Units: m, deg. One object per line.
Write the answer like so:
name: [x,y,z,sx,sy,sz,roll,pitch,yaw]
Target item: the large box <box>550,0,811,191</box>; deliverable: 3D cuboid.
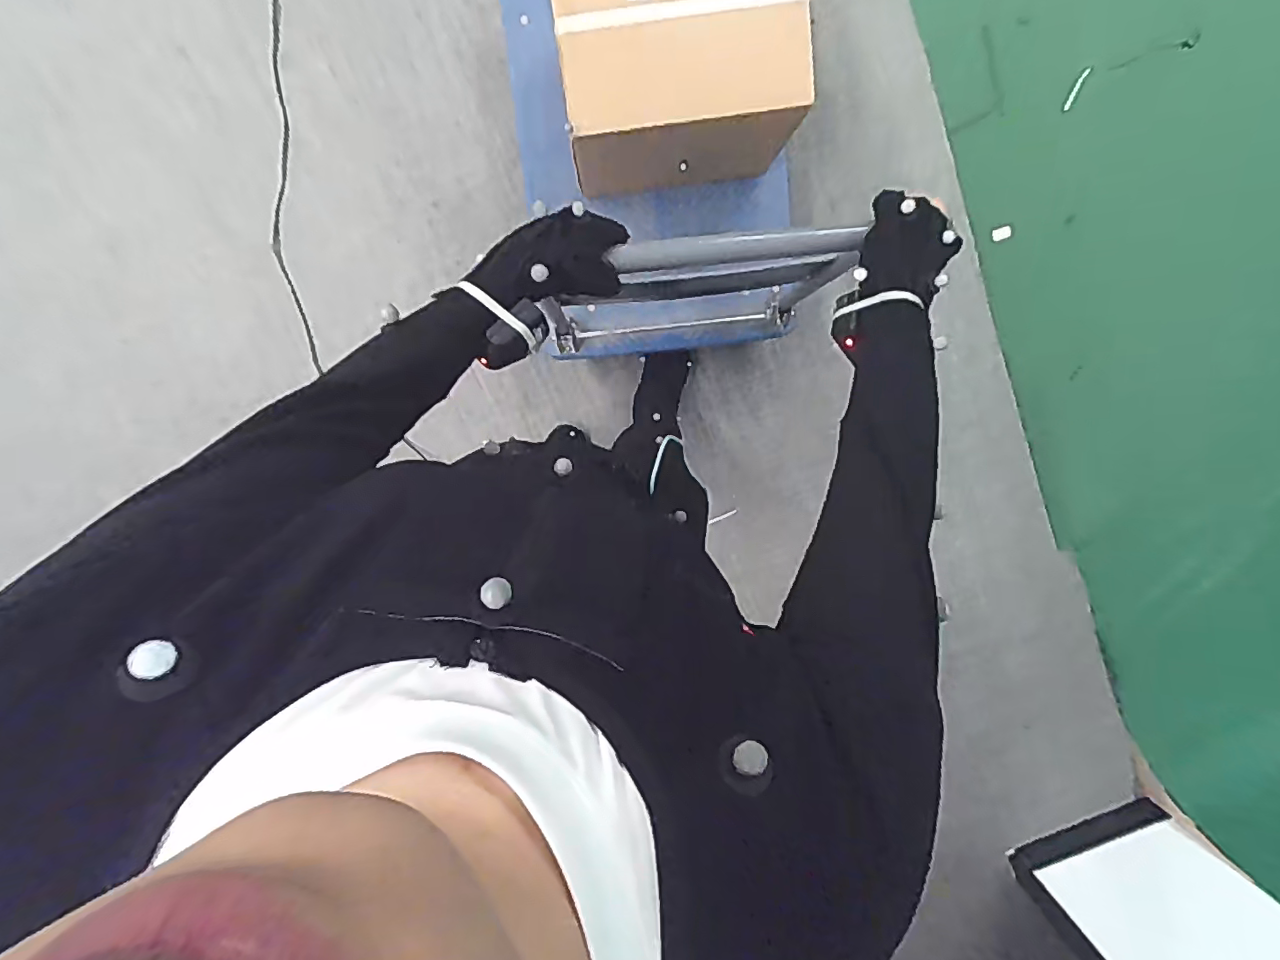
large box: [0.060,-0.771,1.002,0.408,0.320,0.320,-9,101,0]
